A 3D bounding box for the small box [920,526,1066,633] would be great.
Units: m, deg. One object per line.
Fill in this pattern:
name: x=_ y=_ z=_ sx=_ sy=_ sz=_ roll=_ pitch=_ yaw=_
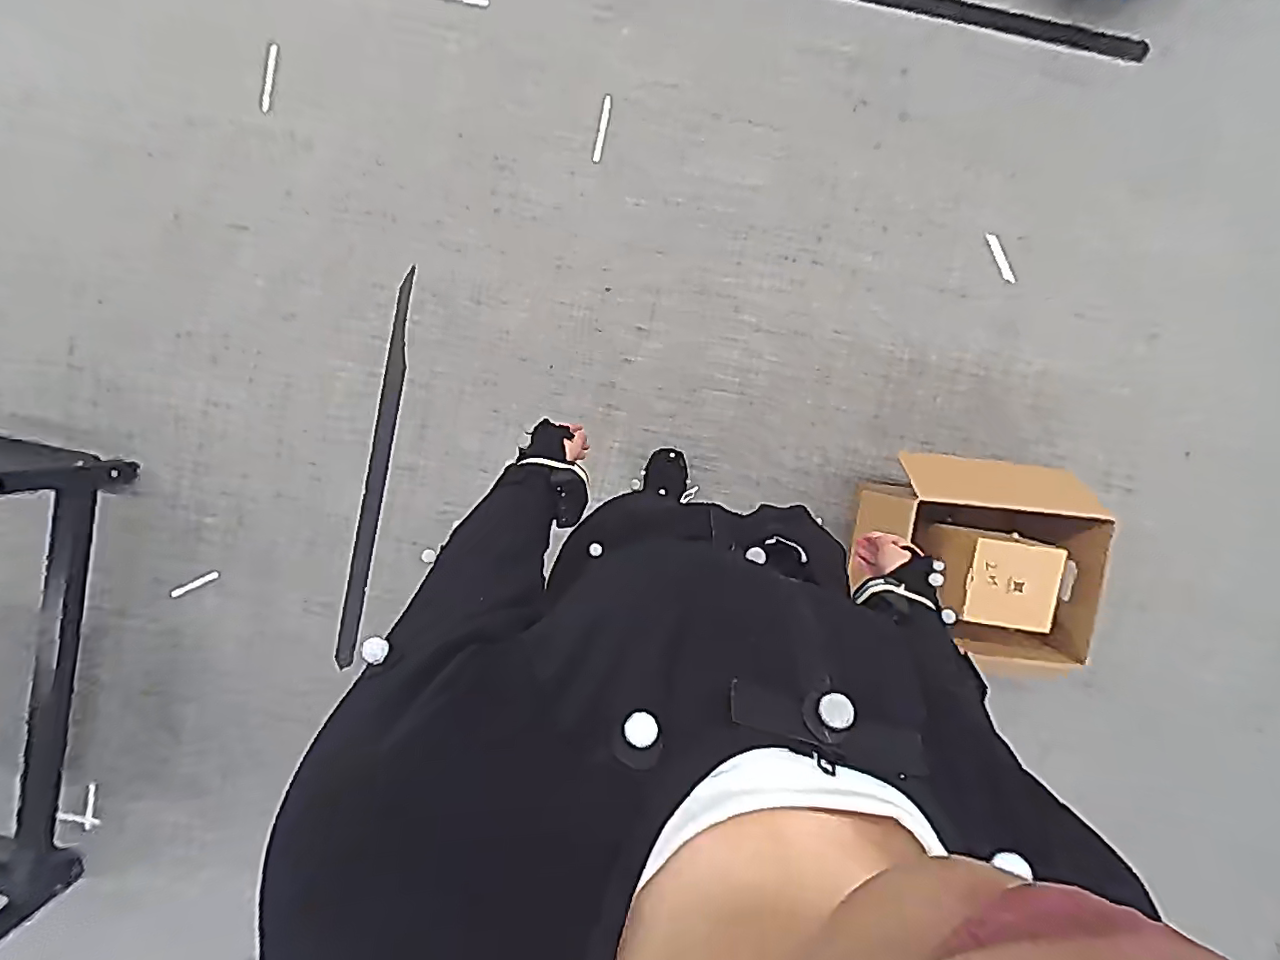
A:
small box: x=0.720 y=0.198 z=1.122 sx=0.179 sy=0.176 sz=0.168 roll=9 pitch=95 yaw=0
